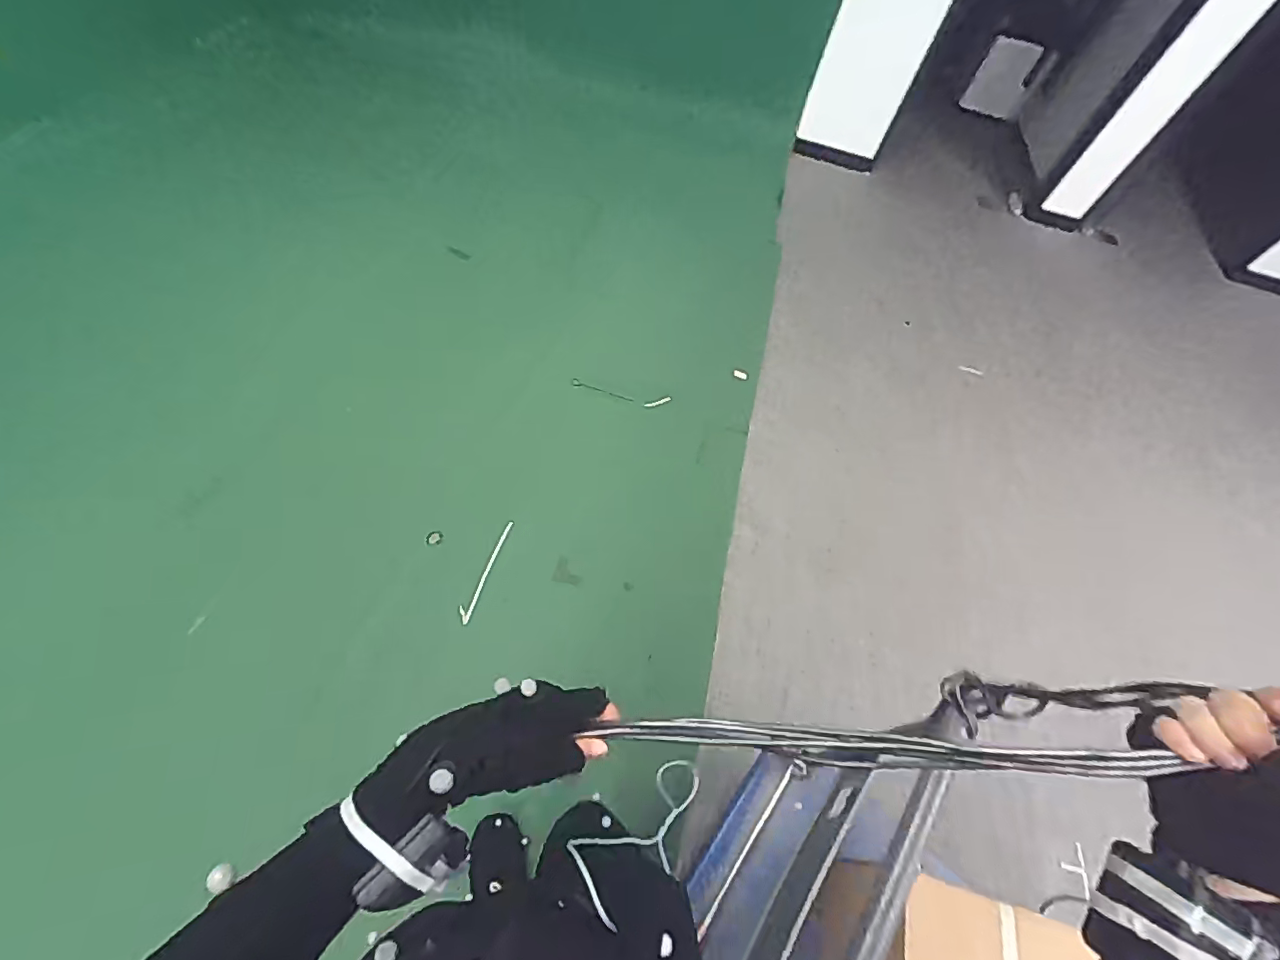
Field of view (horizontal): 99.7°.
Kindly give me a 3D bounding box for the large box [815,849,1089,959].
[{"bbox_3d":[0.486,0.886,0.881,0.320,0.320,0.408,19,56,3],"label":"large box"}]
